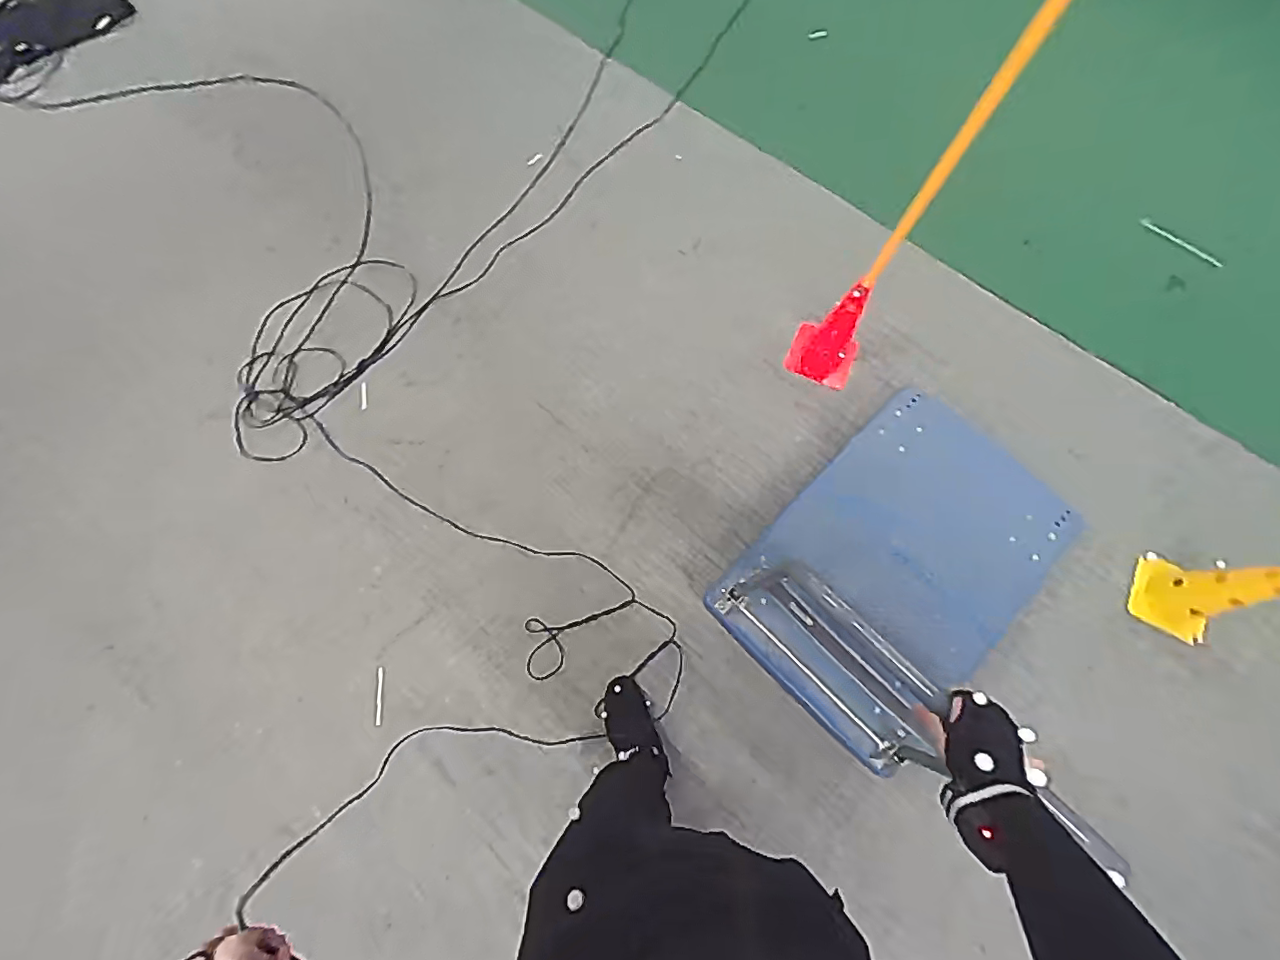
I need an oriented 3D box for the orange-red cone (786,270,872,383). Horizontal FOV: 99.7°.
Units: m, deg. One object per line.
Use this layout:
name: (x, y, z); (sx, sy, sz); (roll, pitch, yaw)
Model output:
orange-red cone: (0.589, -0.476, 1.584); (0.199, 0.360, 0.198); (25, 72, 9)
